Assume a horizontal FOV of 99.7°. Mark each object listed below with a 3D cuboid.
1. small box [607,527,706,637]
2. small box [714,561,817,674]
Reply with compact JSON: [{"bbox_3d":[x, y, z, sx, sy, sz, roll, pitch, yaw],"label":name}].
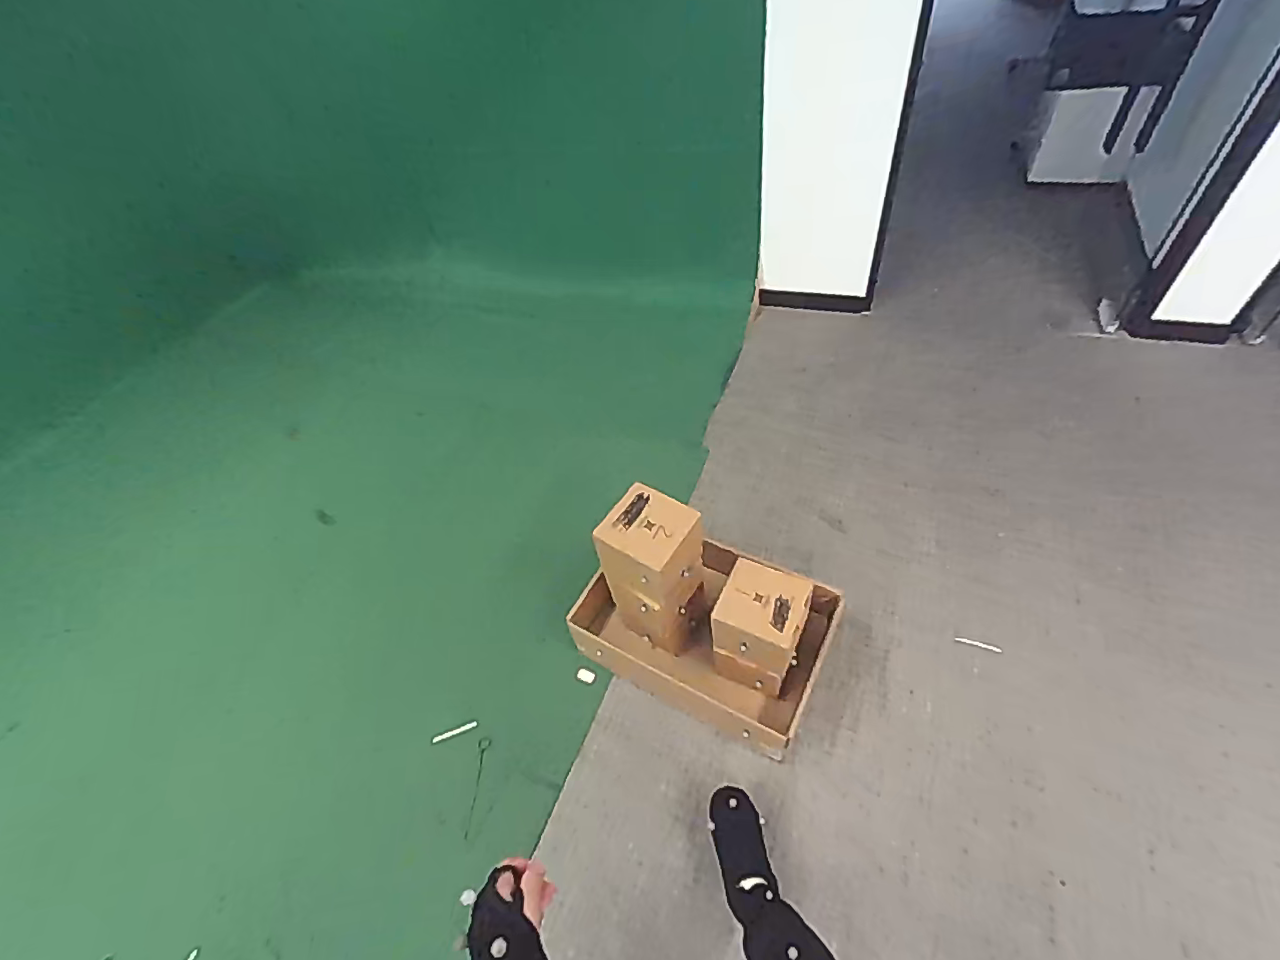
[{"bbox_3d":[0.046,0.256,1.331,0.179,0.176,0.168,31,62,28],"label":"small box"},{"bbox_3d":[0.286,0.316,1.227,0.179,0.176,0.168,17,56,26],"label":"small box"}]
